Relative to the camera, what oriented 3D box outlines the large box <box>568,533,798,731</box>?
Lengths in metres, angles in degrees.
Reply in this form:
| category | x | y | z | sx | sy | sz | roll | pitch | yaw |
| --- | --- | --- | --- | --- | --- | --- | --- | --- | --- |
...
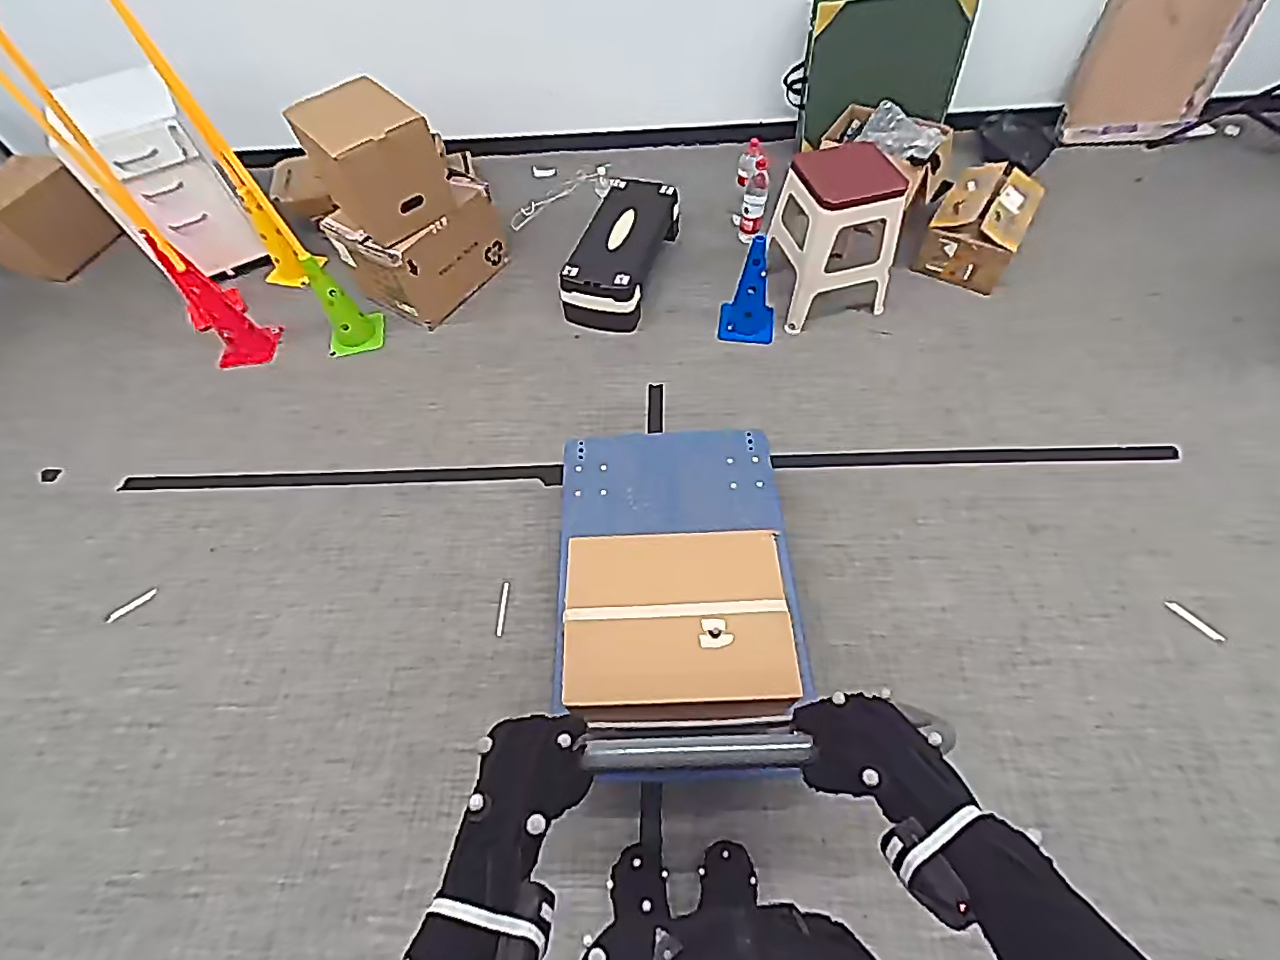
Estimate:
| category | x | y | z | sx | sy | sz | roll | pitch | yaw |
| --- | --- | --- | --- | --- | --- | --- | --- | --- | --- |
| large box | 0.068 | 0.324 | 1.126 | 0.408 | 0.320 | 0.320 | -2 | 58 | 0 |
